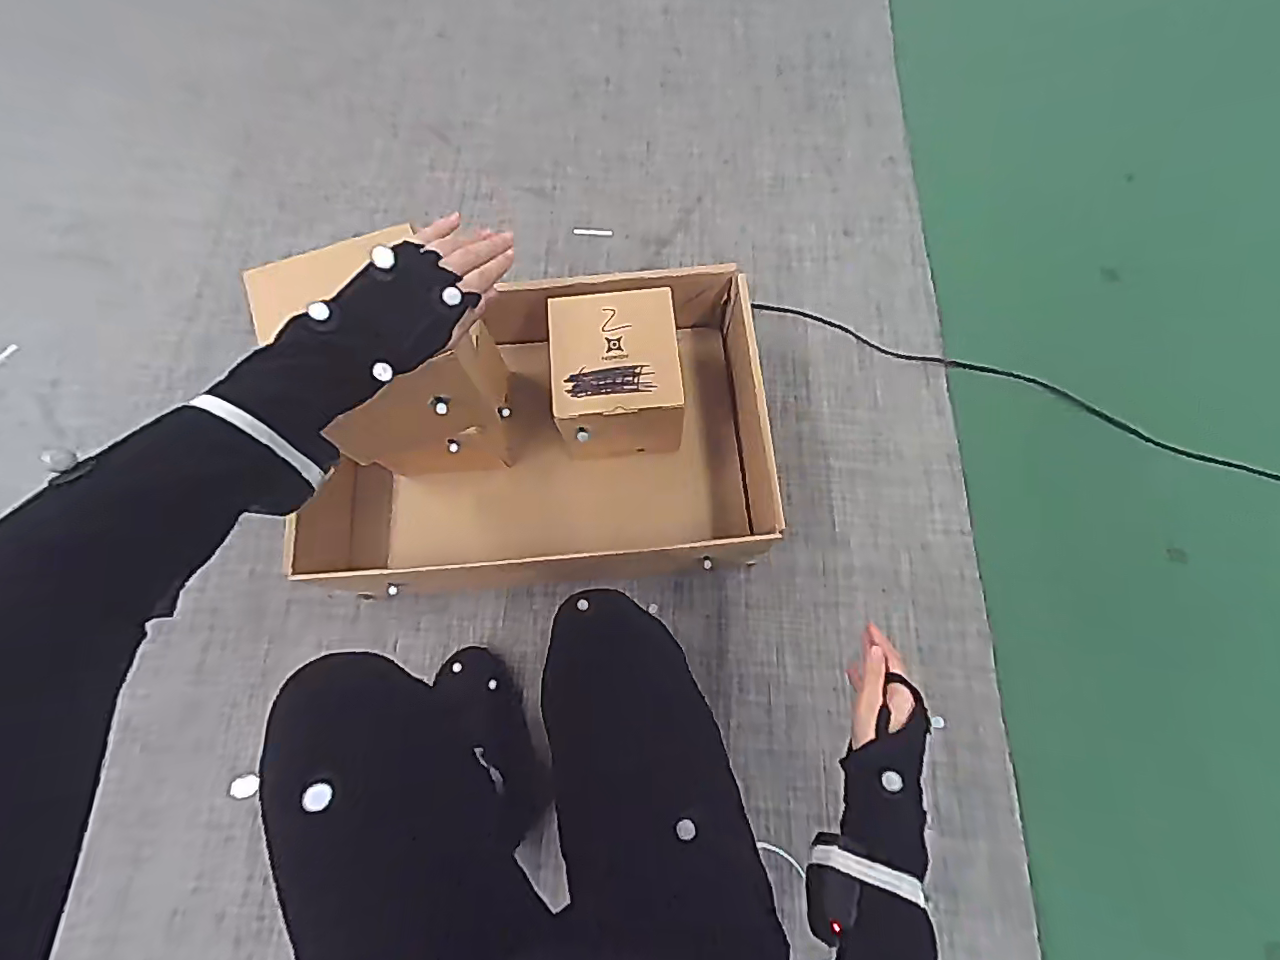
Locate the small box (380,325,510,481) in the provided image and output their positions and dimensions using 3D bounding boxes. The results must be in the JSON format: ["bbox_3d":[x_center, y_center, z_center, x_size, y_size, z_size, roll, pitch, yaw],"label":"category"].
[{"bbox_3d":[-0.294,-0.100,0.772,0.179,0.176,0.168,-4,74,-1],"label":"small box"}]

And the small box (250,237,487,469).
[{"bbox_3d":[-0.287,-0.131,0.611,0.179,0.176,0.168,-20,75,-5],"label":"small box"}]
